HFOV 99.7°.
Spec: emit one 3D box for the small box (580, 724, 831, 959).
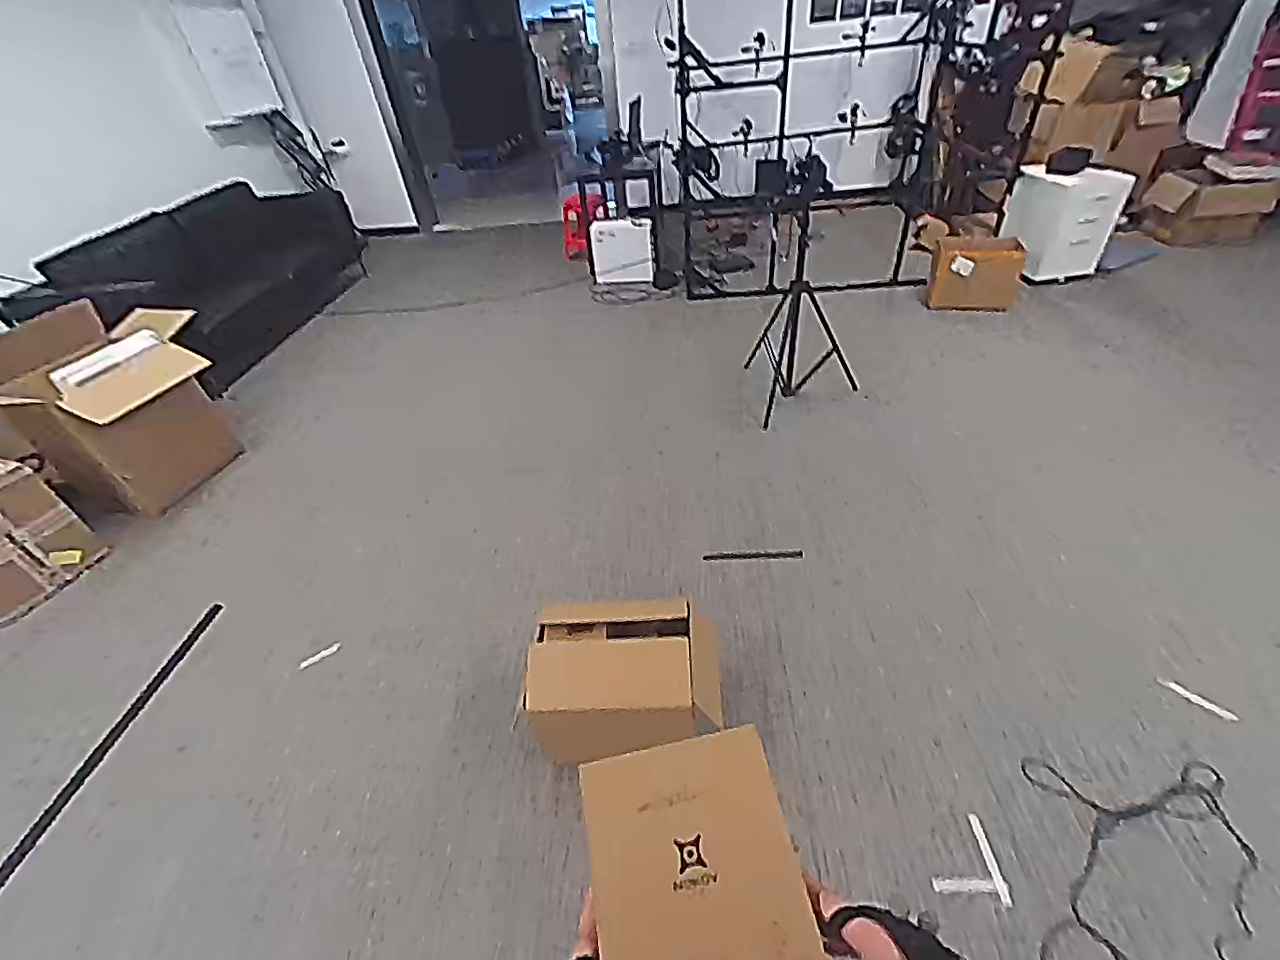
[{"bbox_3d":[0.048,0.348,0.491,0.168,0.176,0.179,-11,52,-5],"label":"small box"}]
